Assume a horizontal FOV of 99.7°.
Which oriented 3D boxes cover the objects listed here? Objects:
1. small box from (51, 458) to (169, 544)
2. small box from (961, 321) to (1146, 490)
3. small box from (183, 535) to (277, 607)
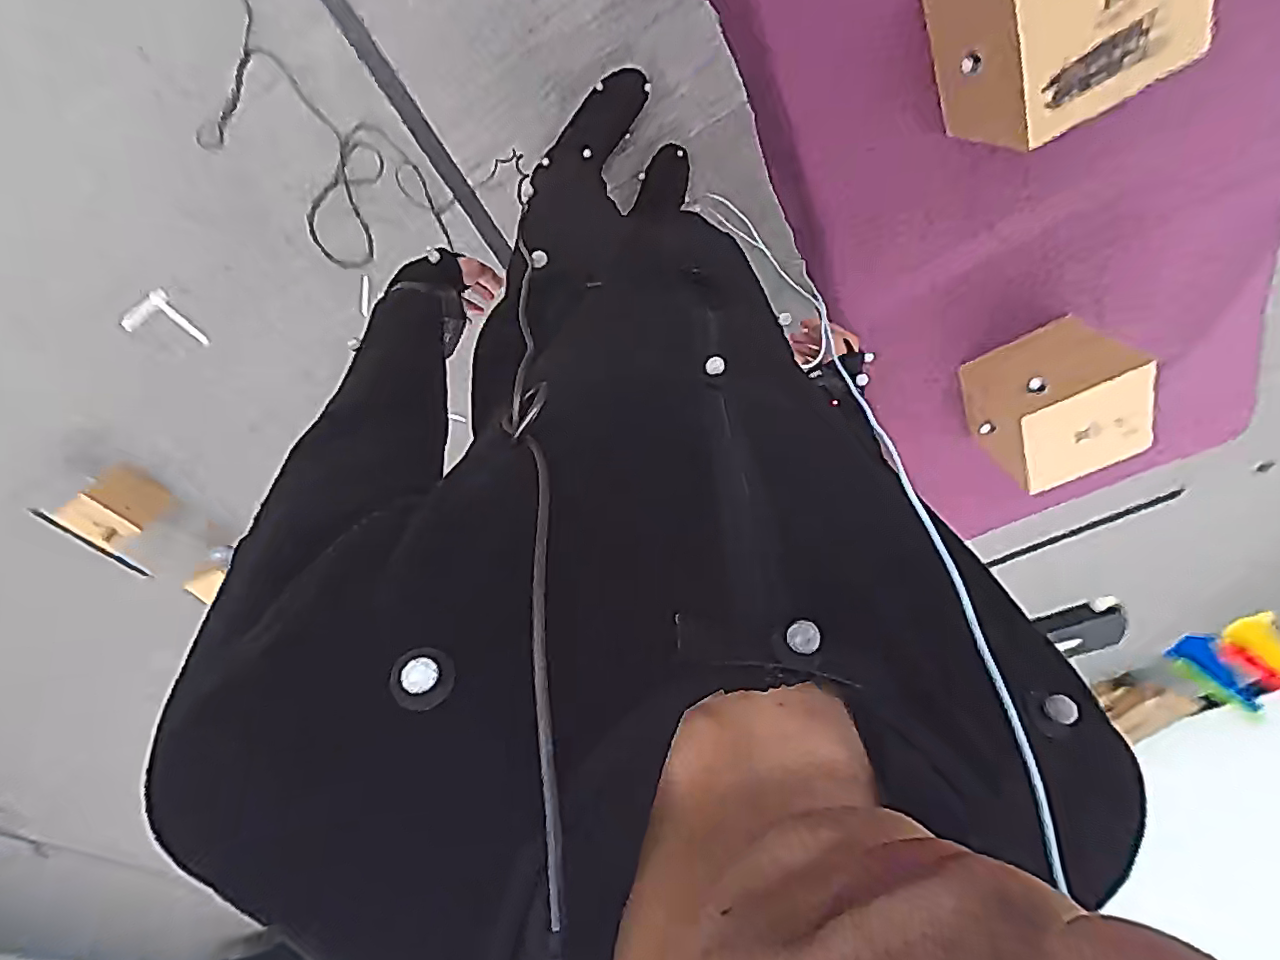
[{"bbox_3d":[-1.666,0.064,1.714,0.168,0.176,0.179,-27,124,15],"label":"small box"},{"bbox_3d":[0.637,-0.120,0.855,0.179,0.176,0.168,-25,126,13],"label":"small box"},{"bbox_3d":[-1.456,0.319,1.934,0.168,0.176,0.179,-20,128,9],"label":"small box"}]
